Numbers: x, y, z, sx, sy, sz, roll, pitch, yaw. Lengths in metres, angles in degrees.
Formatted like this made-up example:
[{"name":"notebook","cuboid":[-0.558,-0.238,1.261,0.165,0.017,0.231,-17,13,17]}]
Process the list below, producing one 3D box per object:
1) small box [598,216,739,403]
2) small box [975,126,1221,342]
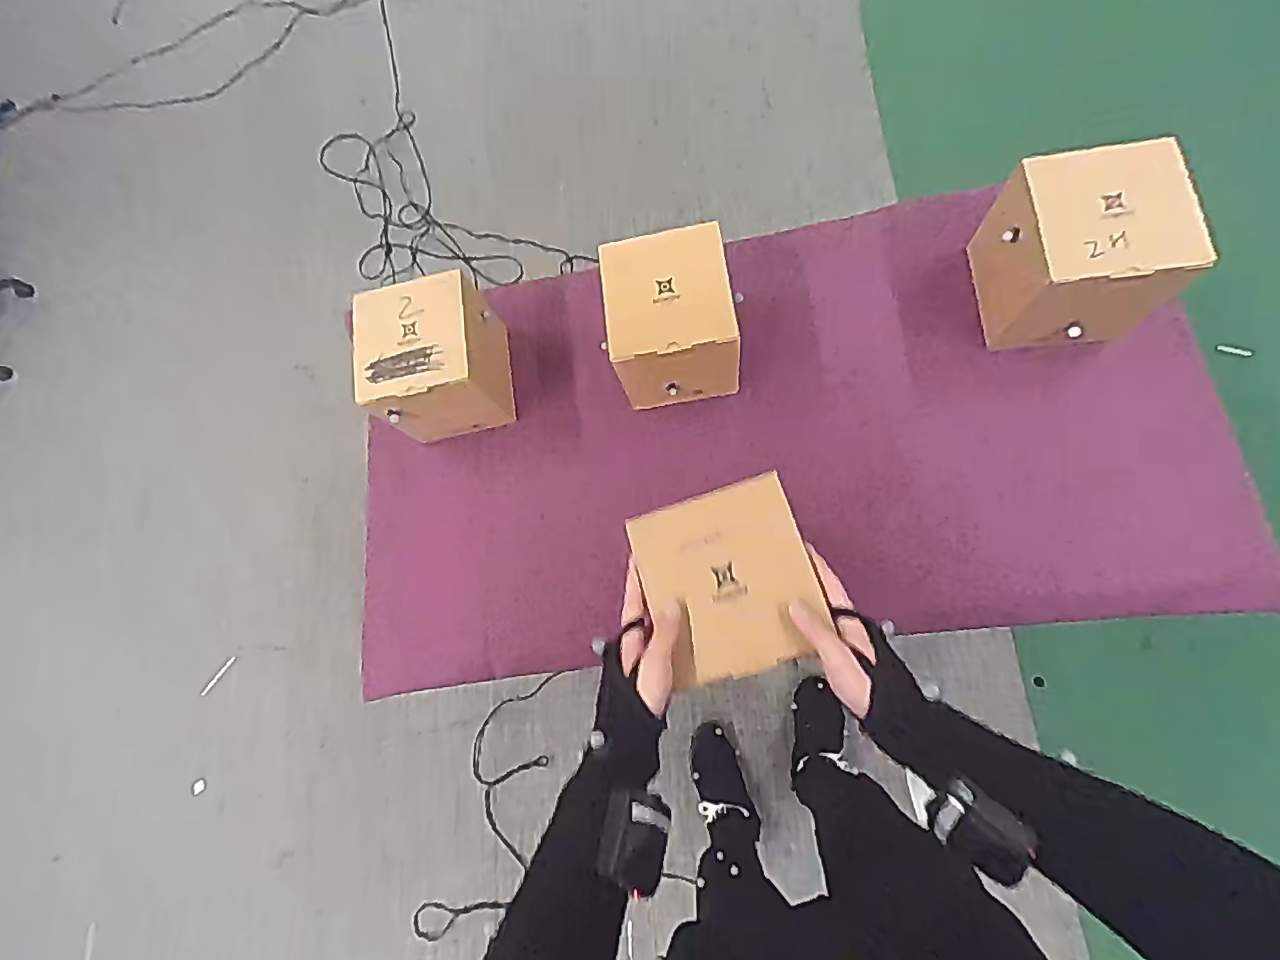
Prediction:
[{"name":"small box","cuboid":[0.044,-0.230,0.765,0.168,0.176,0.179,-9,76,8]},{"name":"small box","cuboid":[0.554,-0.299,0.687,0.168,0.176,0.179,-4,76,10]}]
